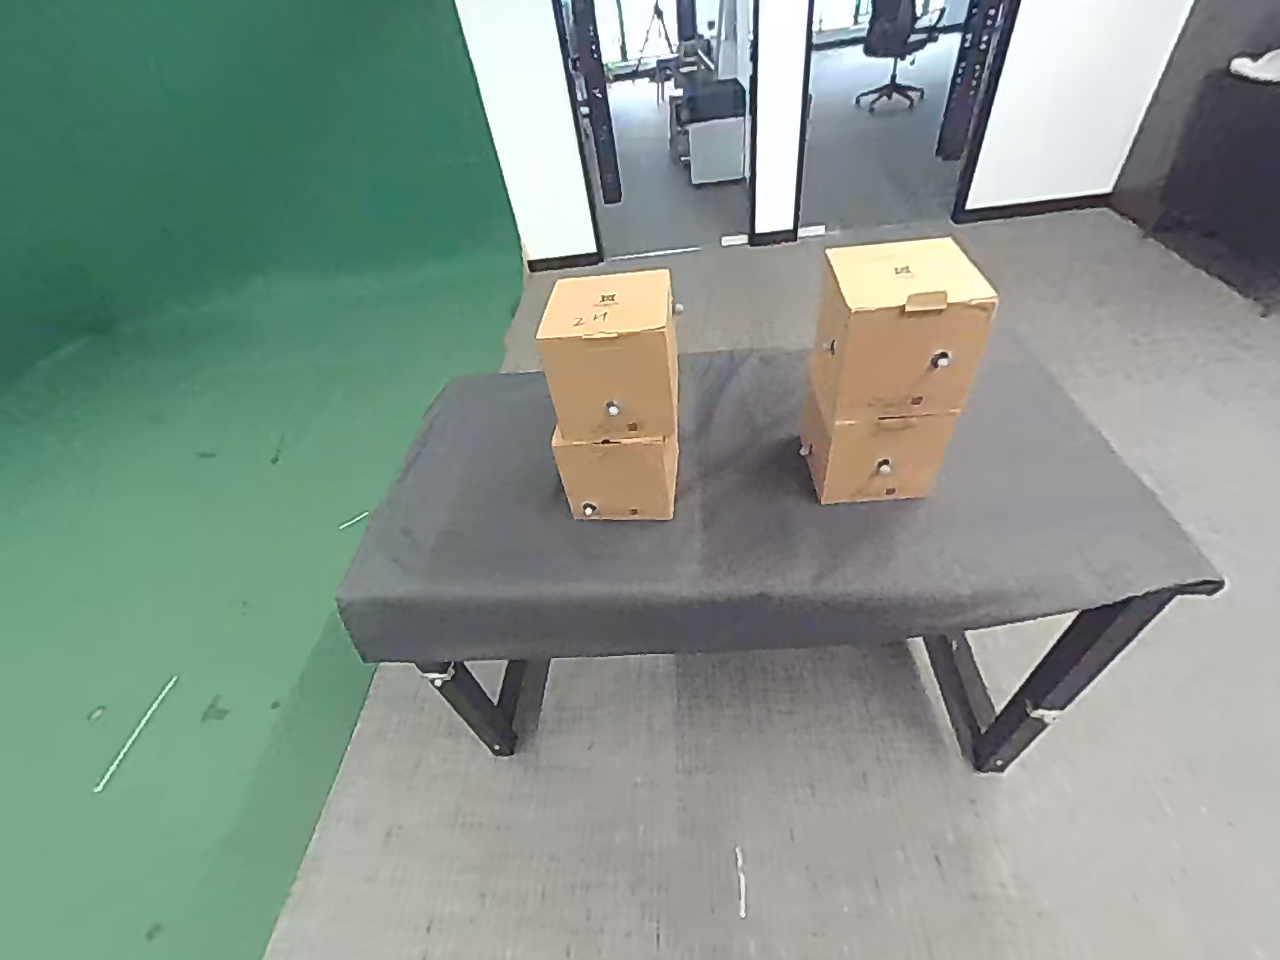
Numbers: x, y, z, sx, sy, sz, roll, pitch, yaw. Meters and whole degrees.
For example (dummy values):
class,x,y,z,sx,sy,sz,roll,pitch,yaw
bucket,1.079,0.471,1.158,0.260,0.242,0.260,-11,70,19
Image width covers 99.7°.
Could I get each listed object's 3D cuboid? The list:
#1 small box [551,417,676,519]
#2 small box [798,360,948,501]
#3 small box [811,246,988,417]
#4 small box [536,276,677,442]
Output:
class,x,y,z,sx,sy,sz,roll,pitch,yaw
small box,-0.031,-0.049,0.891,0.168,0.176,0.179,0,43,9
small box,0.352,-0.080,0.853,0.168,0.176,0.179,-4,44,6
small box,0.336,-0.197,0.741,0.168,0.176,0.179,-2,43,7
small box,-0.036,-0.174,0.782,0.168,0.176,0.179,-3,43,8
